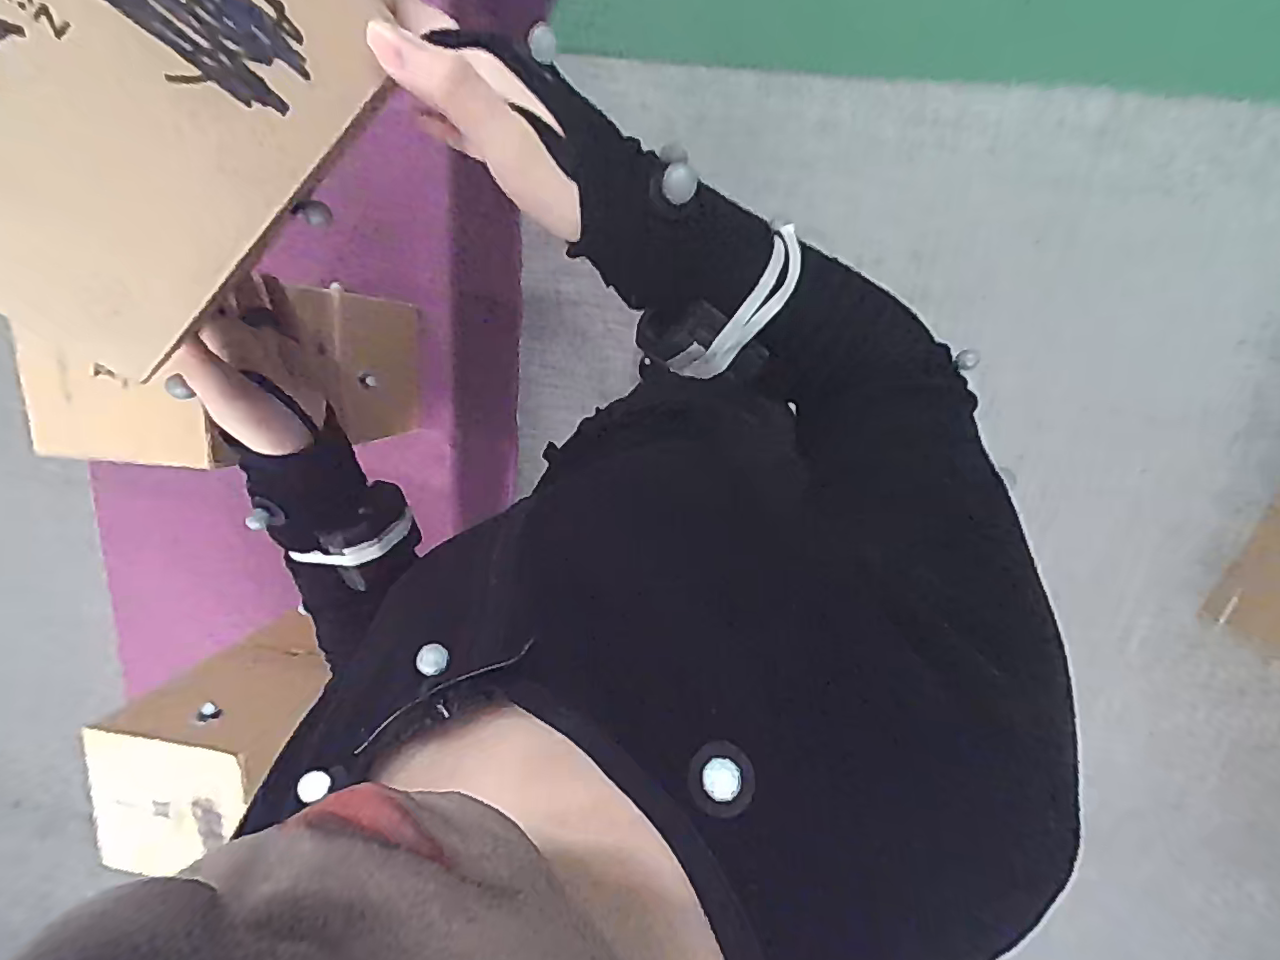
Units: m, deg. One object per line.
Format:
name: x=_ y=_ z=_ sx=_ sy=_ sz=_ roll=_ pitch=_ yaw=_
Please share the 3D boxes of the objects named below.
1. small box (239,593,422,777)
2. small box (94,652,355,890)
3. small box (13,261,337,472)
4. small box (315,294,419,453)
small box: x=-0.433 y=0.286 z=0.784 sx=0.168 sy=0.176 sz=0.179 roll=5 pitch=102 yaw=6
small box: x=-0.454 y=0.318 z=0.624 sx=0.179 sy=0.176 sz=0.168 roll=5 pitch=102 yaw=8
small box: x=-0.424 y=-0.110 z=0.529 sx=0.179 sy=0.176 sz=0.168 roll=5 pitch=102 yaw=7
small box: x=-0.398 y=-0.142 z=0.687 sx=0.168 sy=0.176 sz=0.179 roll=7 pitch=103 yaw=5
